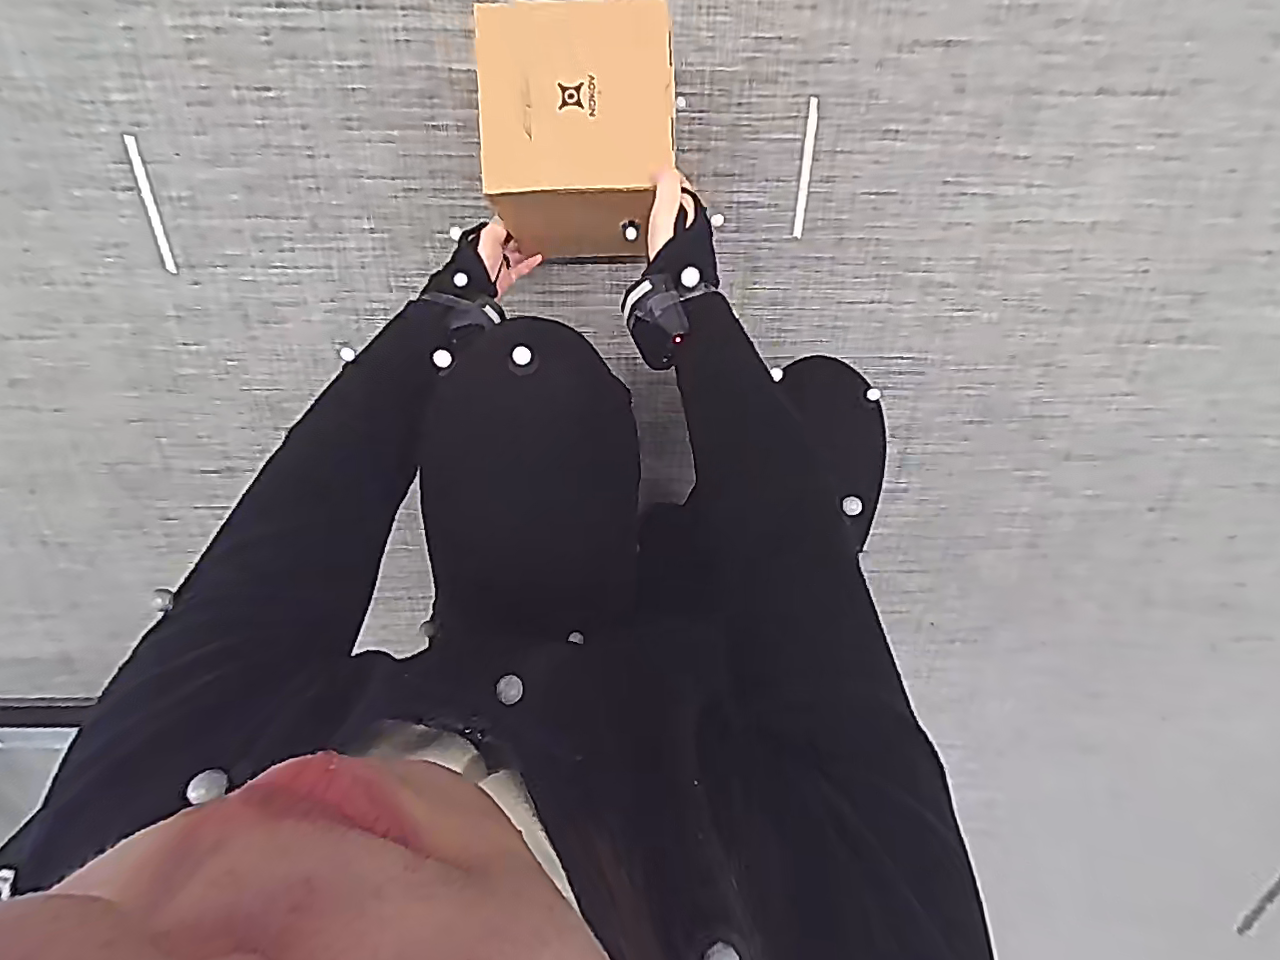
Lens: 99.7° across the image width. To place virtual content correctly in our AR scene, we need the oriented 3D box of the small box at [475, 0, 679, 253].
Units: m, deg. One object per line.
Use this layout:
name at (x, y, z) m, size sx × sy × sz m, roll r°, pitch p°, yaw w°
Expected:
small box at (-0.054, -0.342, 0.548) m, size 0.179 × 0.176 × 0.168 m, roll -1°, pitch 93°, yaw 1°
